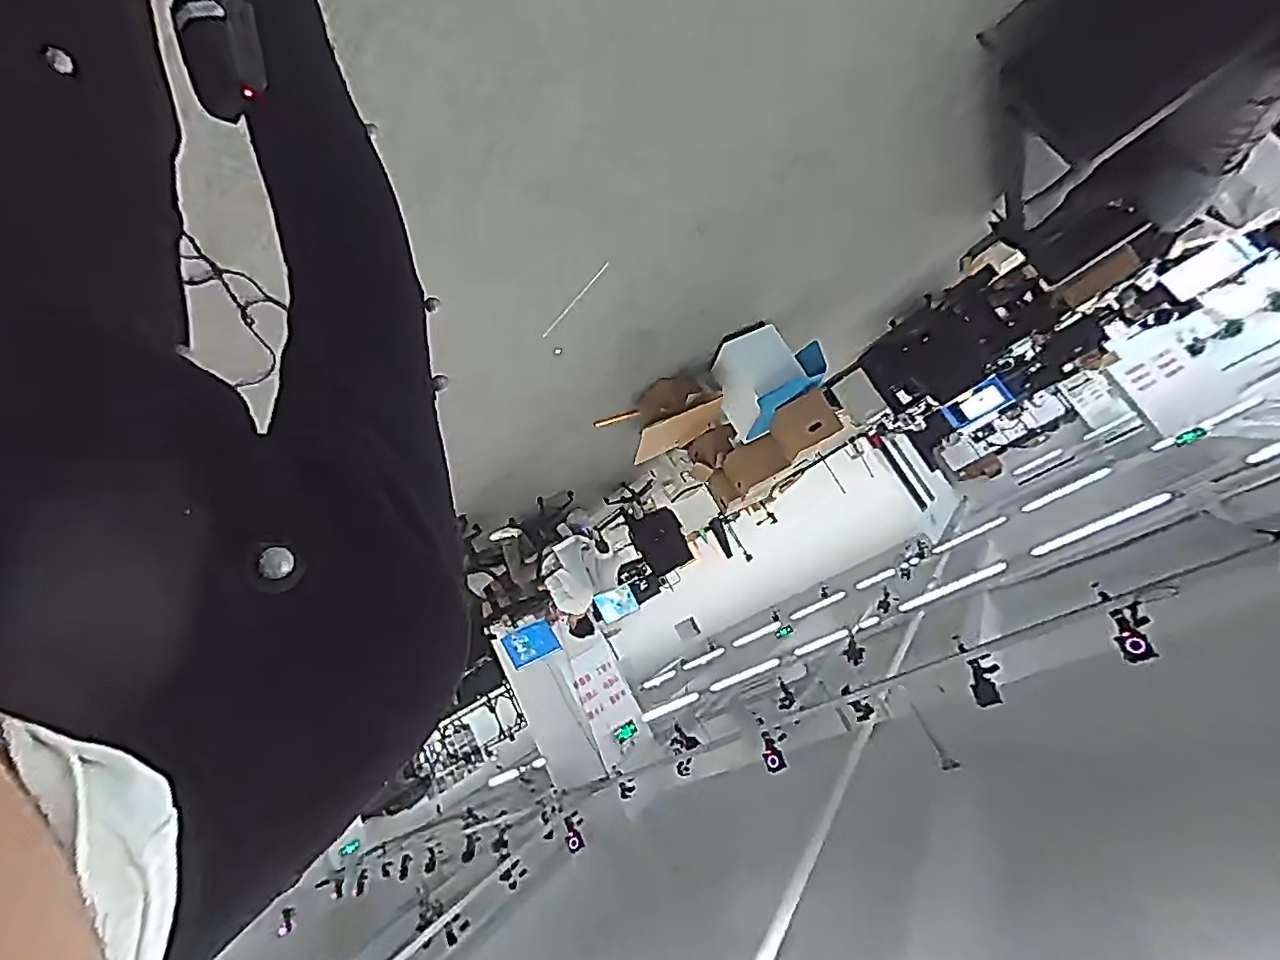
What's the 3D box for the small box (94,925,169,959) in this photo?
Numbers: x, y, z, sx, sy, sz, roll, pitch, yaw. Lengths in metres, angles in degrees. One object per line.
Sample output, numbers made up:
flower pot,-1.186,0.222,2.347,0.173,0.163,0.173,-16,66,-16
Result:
small box,-1.294,1.256,1.346,0.179,0.176,0.168,-36,165,33
